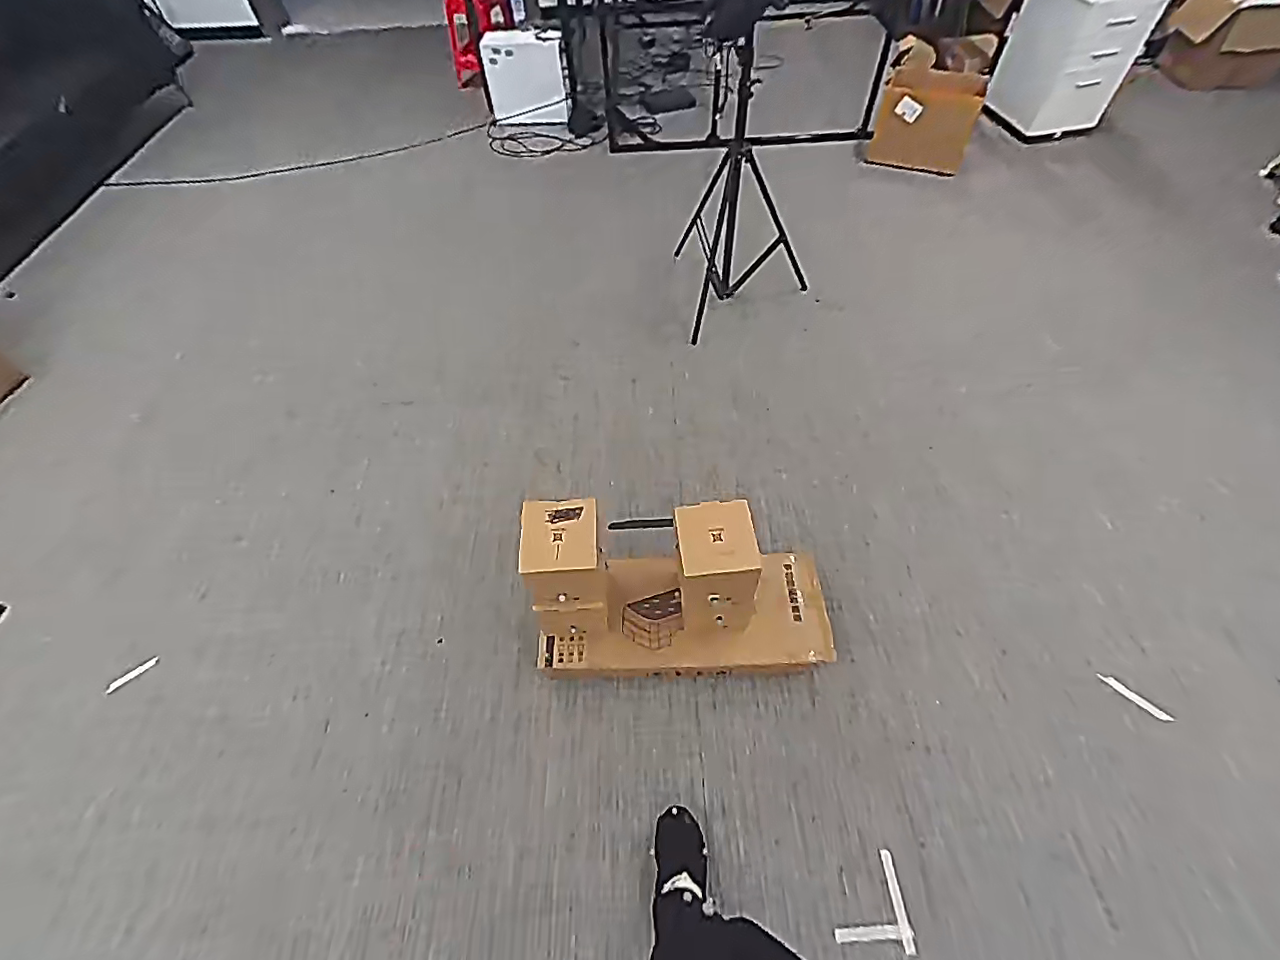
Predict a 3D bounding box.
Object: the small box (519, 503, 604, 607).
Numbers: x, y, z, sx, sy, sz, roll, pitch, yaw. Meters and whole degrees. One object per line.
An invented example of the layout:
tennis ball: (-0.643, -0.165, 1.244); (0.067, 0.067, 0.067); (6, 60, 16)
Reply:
small box: (-0.173, 0.172, 1.232); (0.168, 0.176, 0.179); (-3, 55, -1)

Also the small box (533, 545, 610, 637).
small box: (-0.166, 0.280, 1.356); (0.168, 0.176, 0.179); (-2, 54, 1)

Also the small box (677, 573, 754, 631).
small box: (0.182, 0.269, 1.354); (0.168, 0.176, 0.179); (-4, 55, -1)

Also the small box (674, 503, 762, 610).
small box: (0.167, 0.174, 1.222); (0.168, 0.176, 0.179); (-6, 55, -1)
